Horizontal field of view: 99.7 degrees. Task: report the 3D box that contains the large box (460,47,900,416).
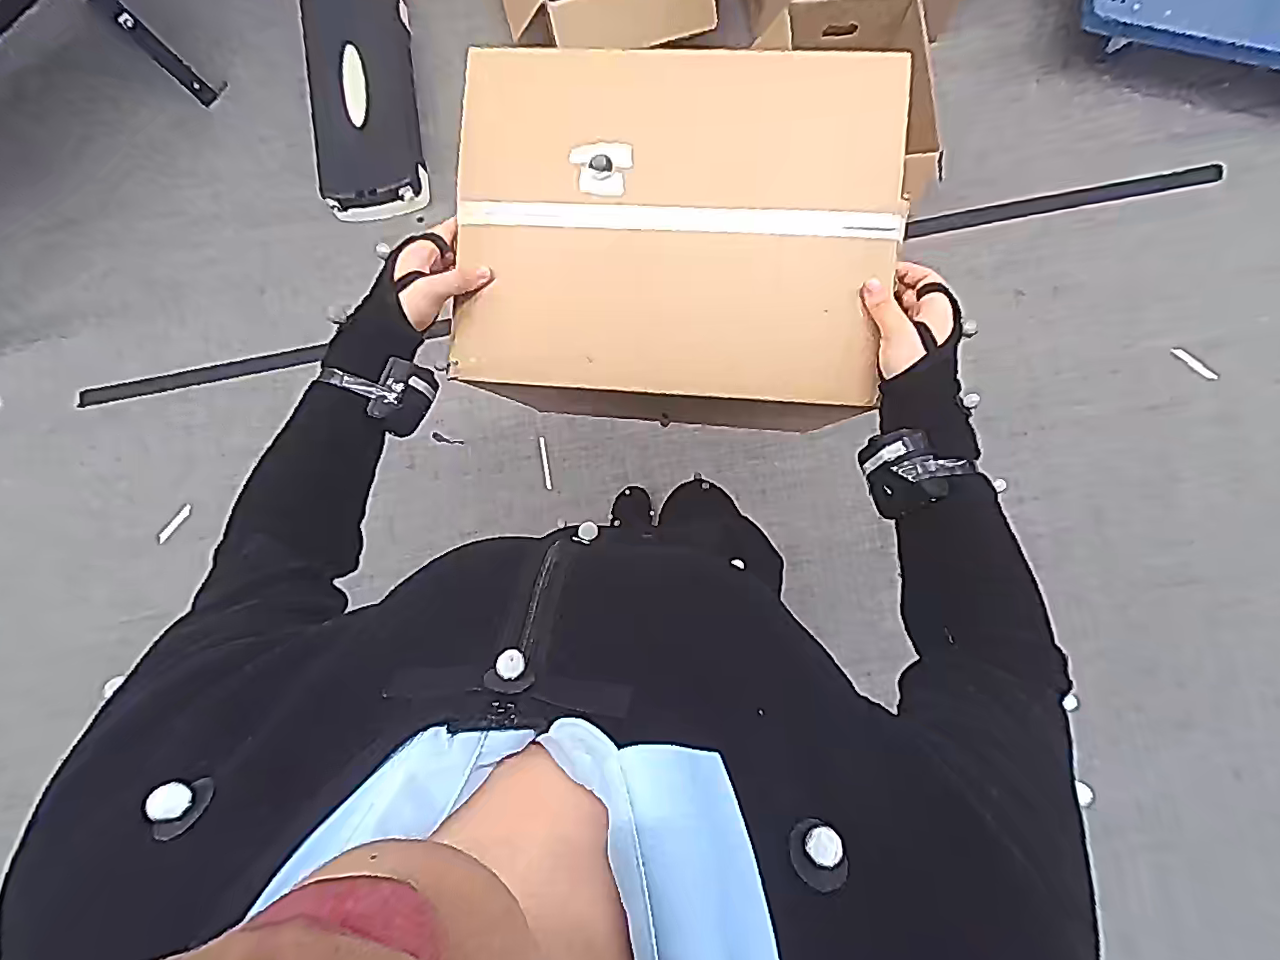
[{"bbox_3d":[0.046,-0.248,0.654,0.408,0.320,0.320,4,91,6],"label":"large box"}]
